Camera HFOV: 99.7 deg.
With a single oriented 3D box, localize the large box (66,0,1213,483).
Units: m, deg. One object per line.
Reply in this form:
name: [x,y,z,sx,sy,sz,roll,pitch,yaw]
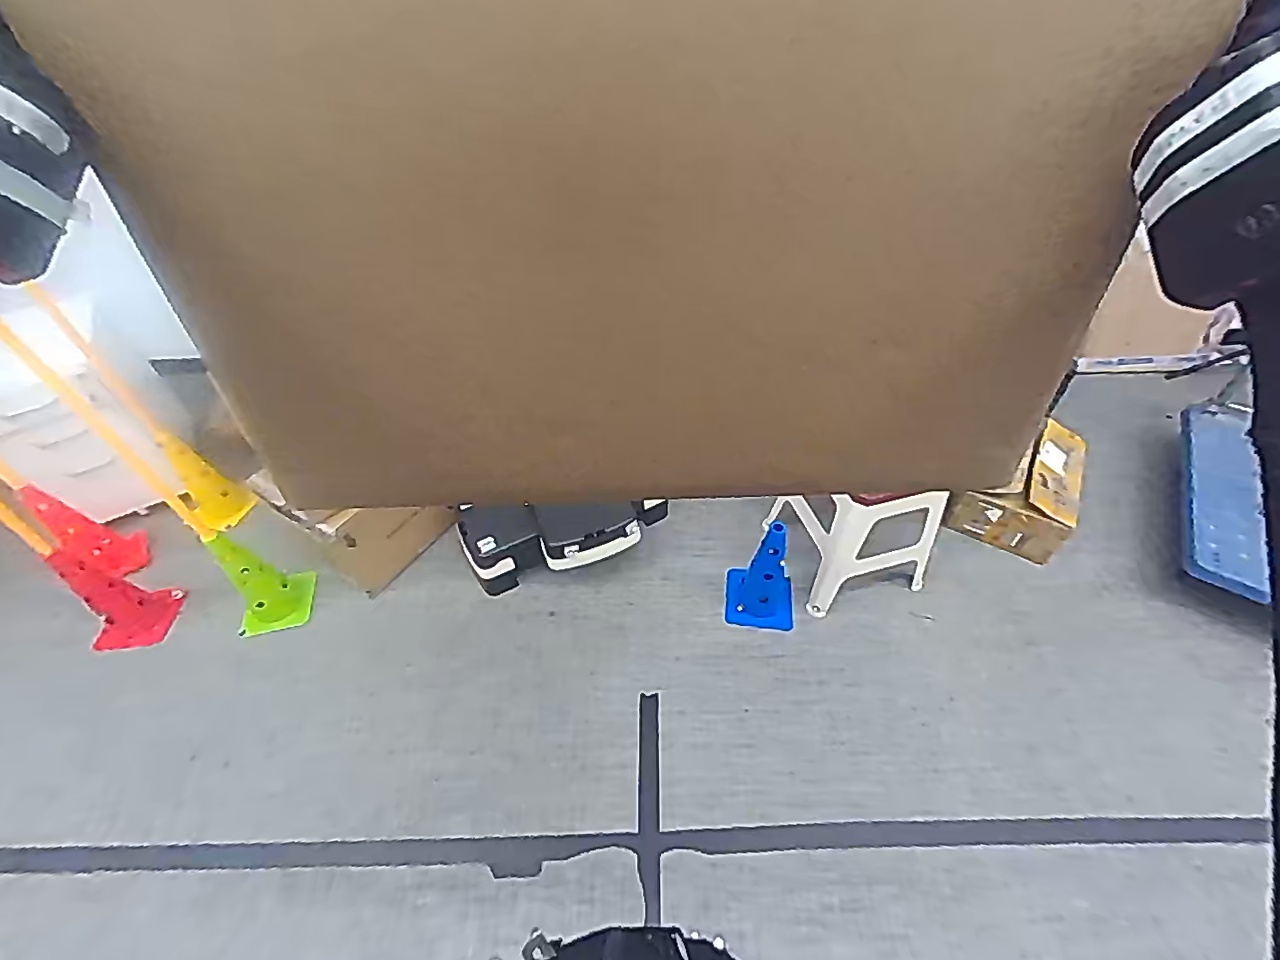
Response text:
large box: [0.000,-0.210,0.333,0.408,0.320,0.320,-1,39,0]
